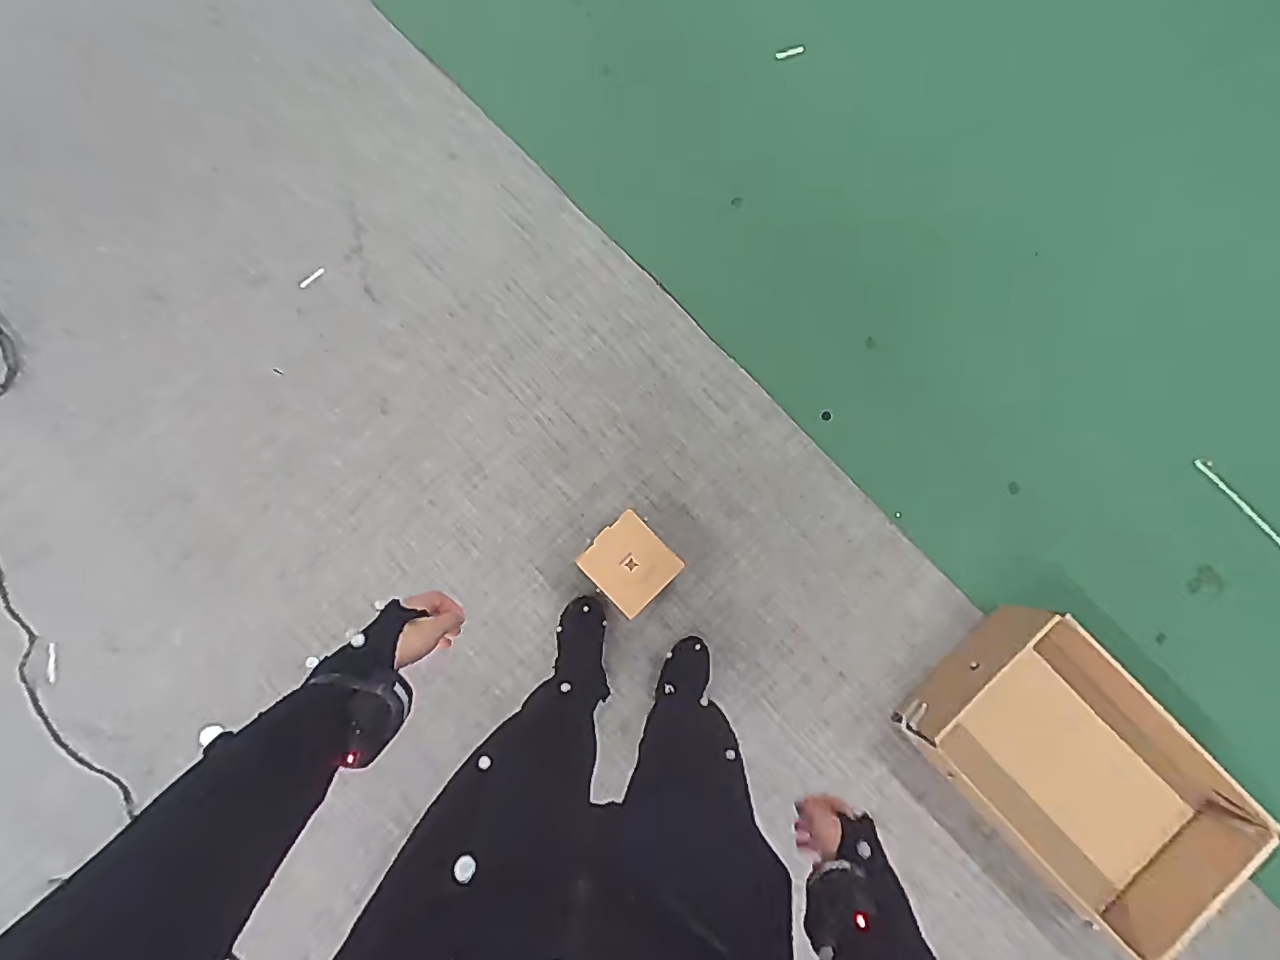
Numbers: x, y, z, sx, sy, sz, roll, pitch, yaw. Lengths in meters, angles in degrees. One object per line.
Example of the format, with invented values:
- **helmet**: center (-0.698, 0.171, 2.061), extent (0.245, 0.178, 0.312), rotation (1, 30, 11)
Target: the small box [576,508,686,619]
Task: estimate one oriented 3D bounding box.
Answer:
- **small box**: center (-0.020, 0.181, 1.214), extent (0.179, 0.176, 0.168), rotation (45, 88, 1)
